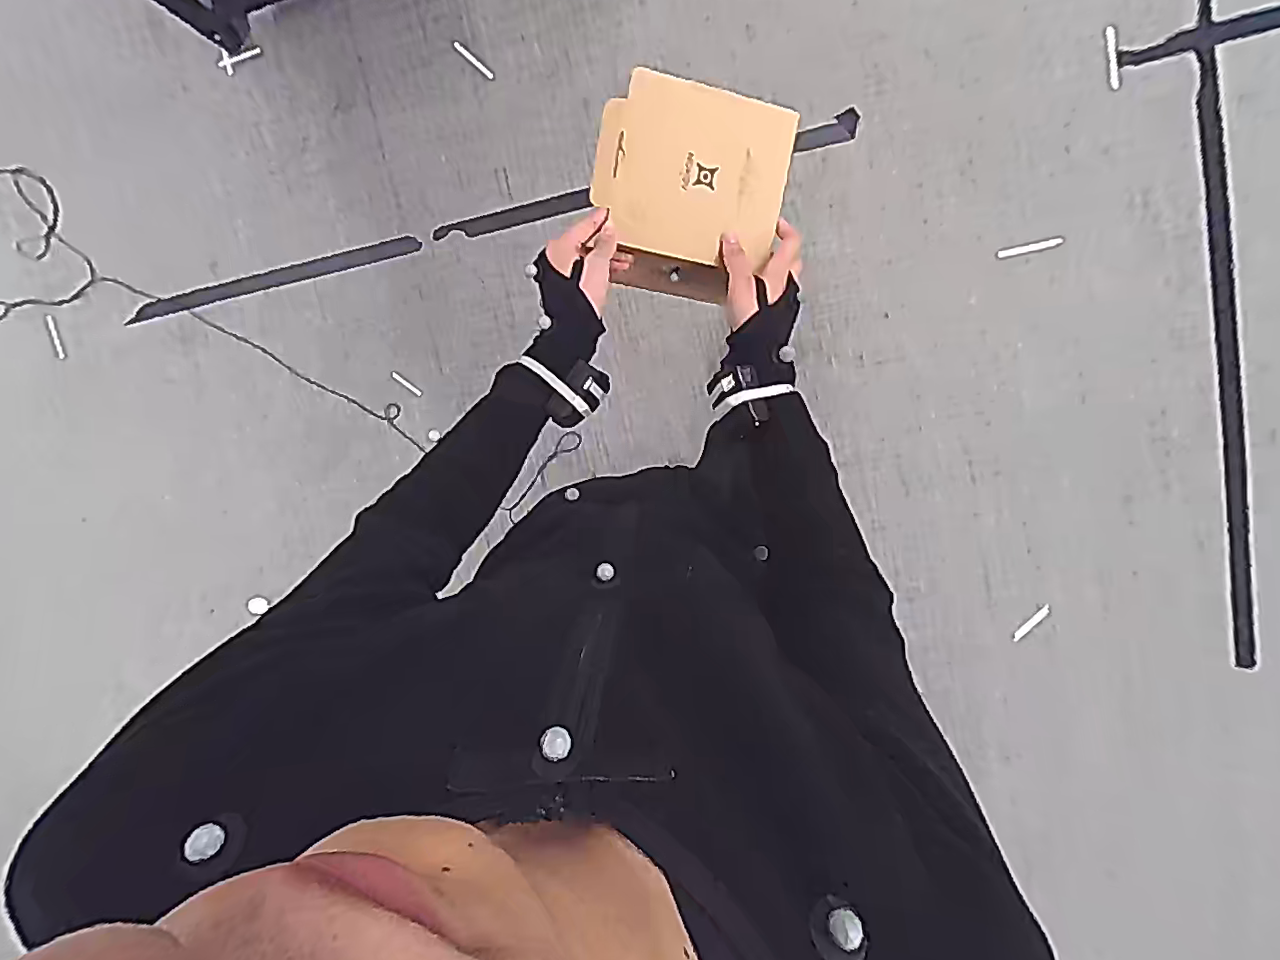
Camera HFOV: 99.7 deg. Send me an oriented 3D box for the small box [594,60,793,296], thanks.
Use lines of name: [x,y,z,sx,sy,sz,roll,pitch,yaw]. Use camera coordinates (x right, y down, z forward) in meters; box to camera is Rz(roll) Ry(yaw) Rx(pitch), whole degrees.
small box: [0.046,-0.320,0.615,0.179,0.176,0.168,9,96,-8]
